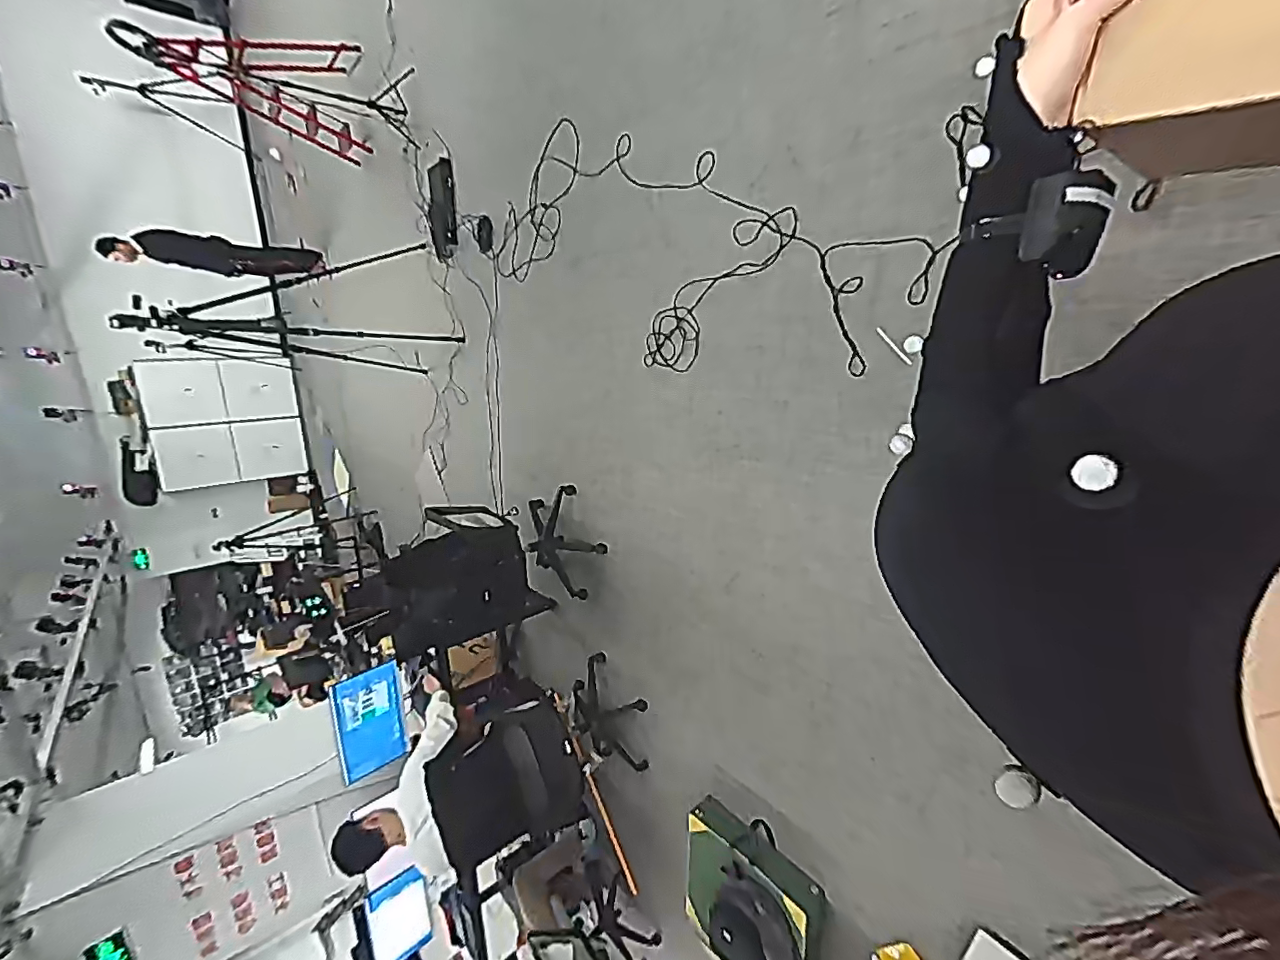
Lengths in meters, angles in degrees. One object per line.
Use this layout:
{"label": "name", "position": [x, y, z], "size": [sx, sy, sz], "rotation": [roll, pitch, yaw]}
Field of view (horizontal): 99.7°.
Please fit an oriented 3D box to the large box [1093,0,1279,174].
{"label": "large box", "position": [0.563, -0.392, 0.300], "size": [0.408, 0.320, 0.320], "rotation": [19, 118, 43]}
